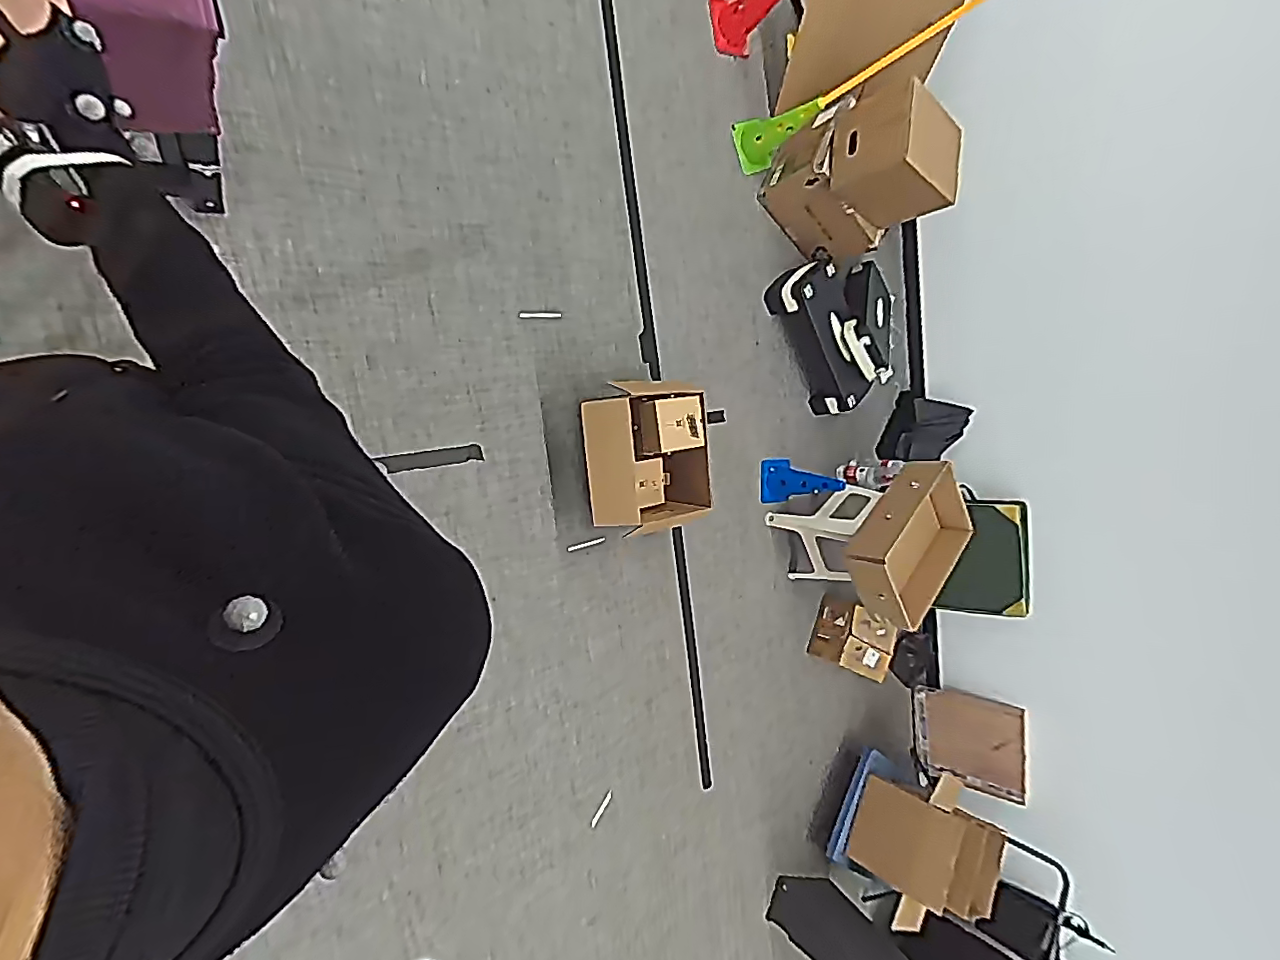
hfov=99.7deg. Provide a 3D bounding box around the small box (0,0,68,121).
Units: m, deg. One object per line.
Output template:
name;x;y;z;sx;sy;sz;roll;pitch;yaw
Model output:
small box;-0.592;-0.412;0.409;0.168;0.176;0.179;-21;107;-35
